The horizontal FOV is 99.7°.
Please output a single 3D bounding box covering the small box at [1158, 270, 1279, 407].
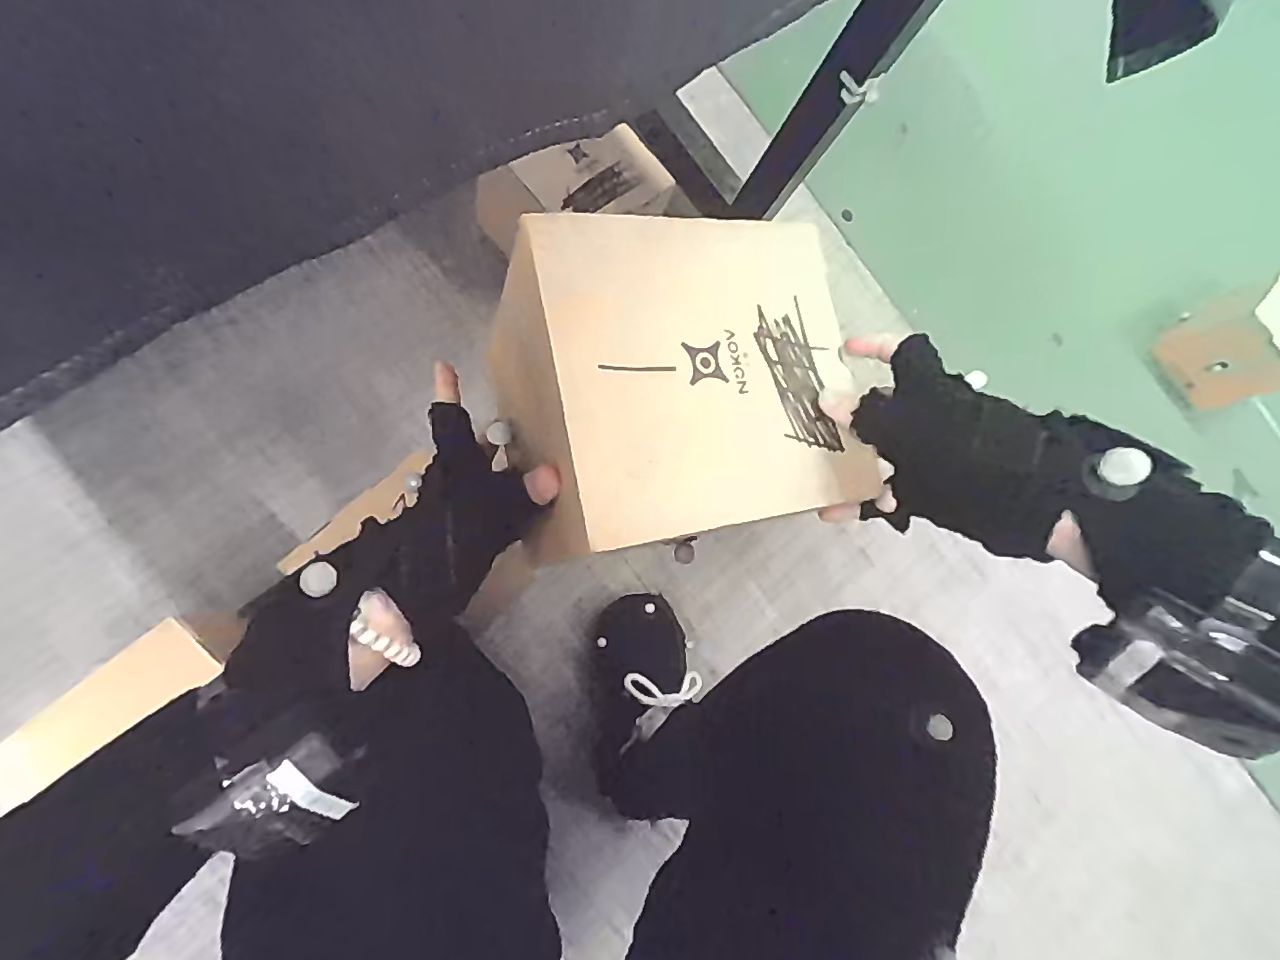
[{"bbox_3d":[1.160,-0.265,1.036,0.179,0.176,0.168,-39,91,-17],"label":"small box"}]
